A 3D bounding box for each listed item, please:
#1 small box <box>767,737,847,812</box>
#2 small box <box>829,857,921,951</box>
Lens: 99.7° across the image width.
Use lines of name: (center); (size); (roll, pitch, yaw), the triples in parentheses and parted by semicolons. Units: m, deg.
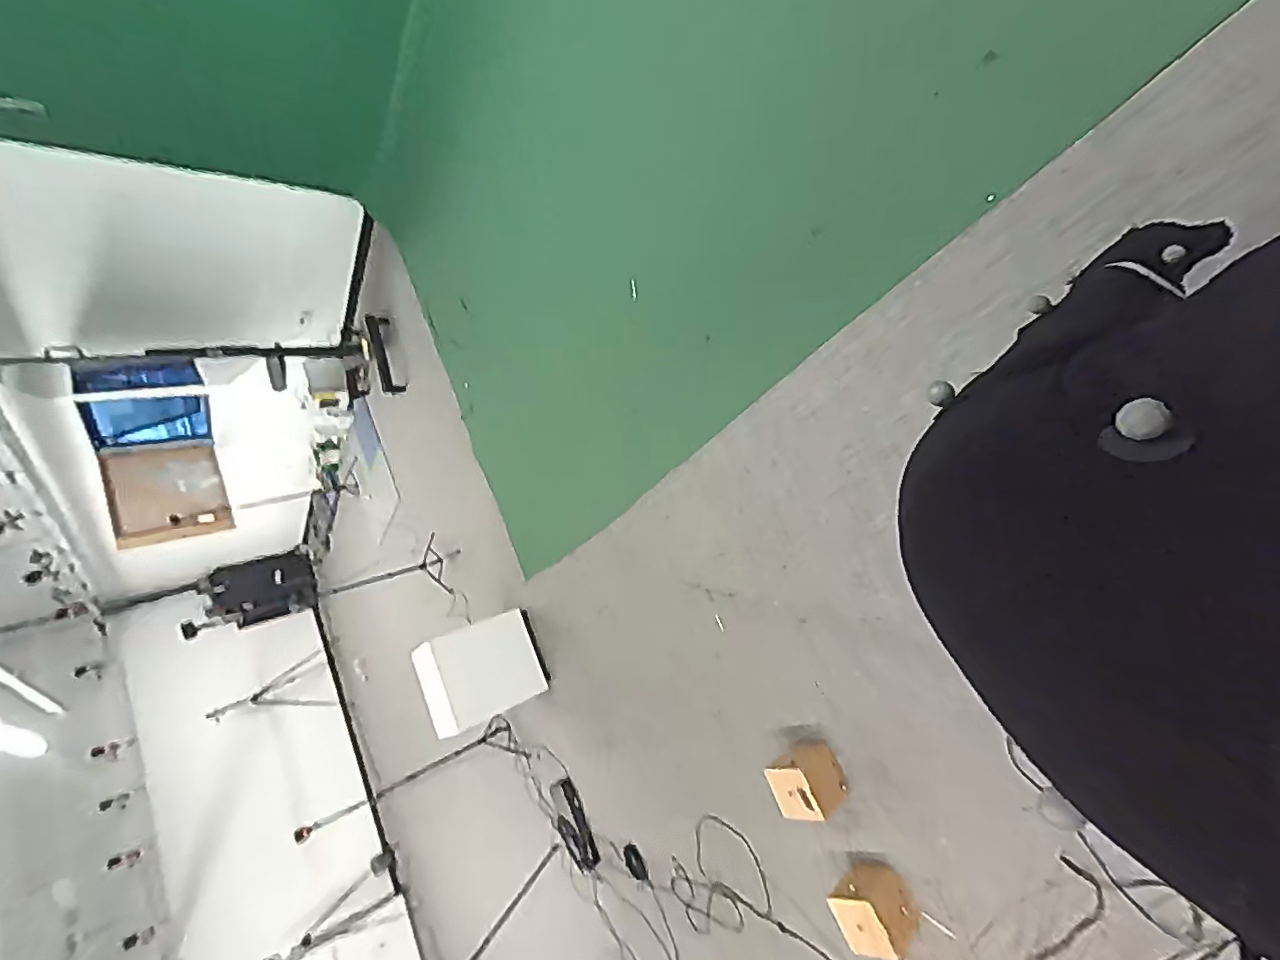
small box: (0.569, 0.987, 1.821); (0.179, 0.176, 0.168); (-36, 73, 48)
small box: (0.745, 1.333, 1.715); (0.179, 0.176, 0.168); (-42, 69, 45)
